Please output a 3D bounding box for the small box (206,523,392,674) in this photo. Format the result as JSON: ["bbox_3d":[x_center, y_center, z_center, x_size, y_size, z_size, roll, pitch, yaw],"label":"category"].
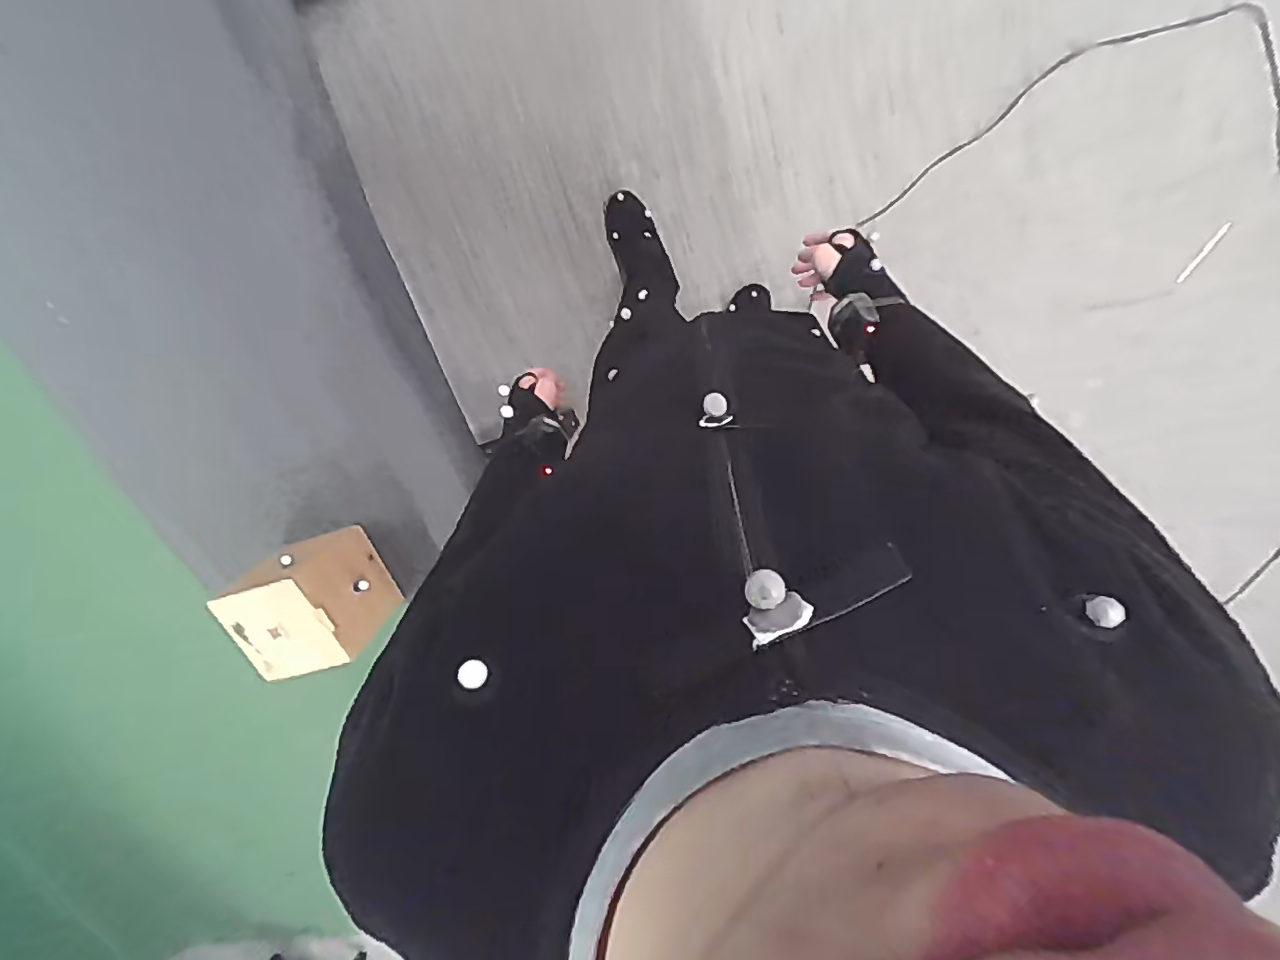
[{"bbox_3d":[-0.552,0.191,0.911,0.179,0.176,0.168,-16,110,13],"label":"small box"}]
